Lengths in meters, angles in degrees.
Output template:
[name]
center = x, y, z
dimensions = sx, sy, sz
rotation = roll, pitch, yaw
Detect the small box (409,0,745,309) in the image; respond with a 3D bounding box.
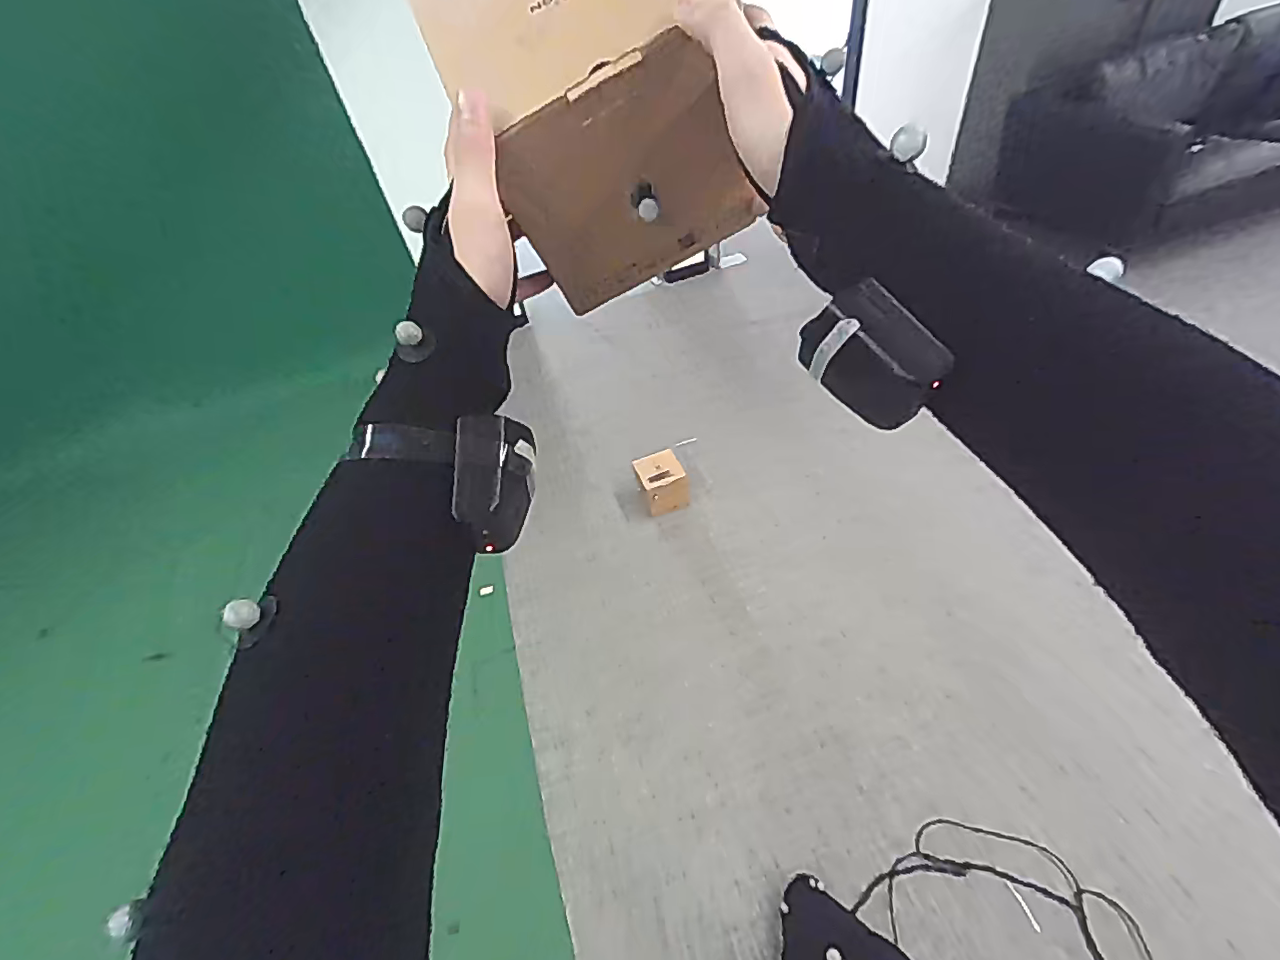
[small box]
center = -0.033, -0.256, 0.402
dimensions = 0.168, 0.176, 0.179
rotation = -26, 69, 7
